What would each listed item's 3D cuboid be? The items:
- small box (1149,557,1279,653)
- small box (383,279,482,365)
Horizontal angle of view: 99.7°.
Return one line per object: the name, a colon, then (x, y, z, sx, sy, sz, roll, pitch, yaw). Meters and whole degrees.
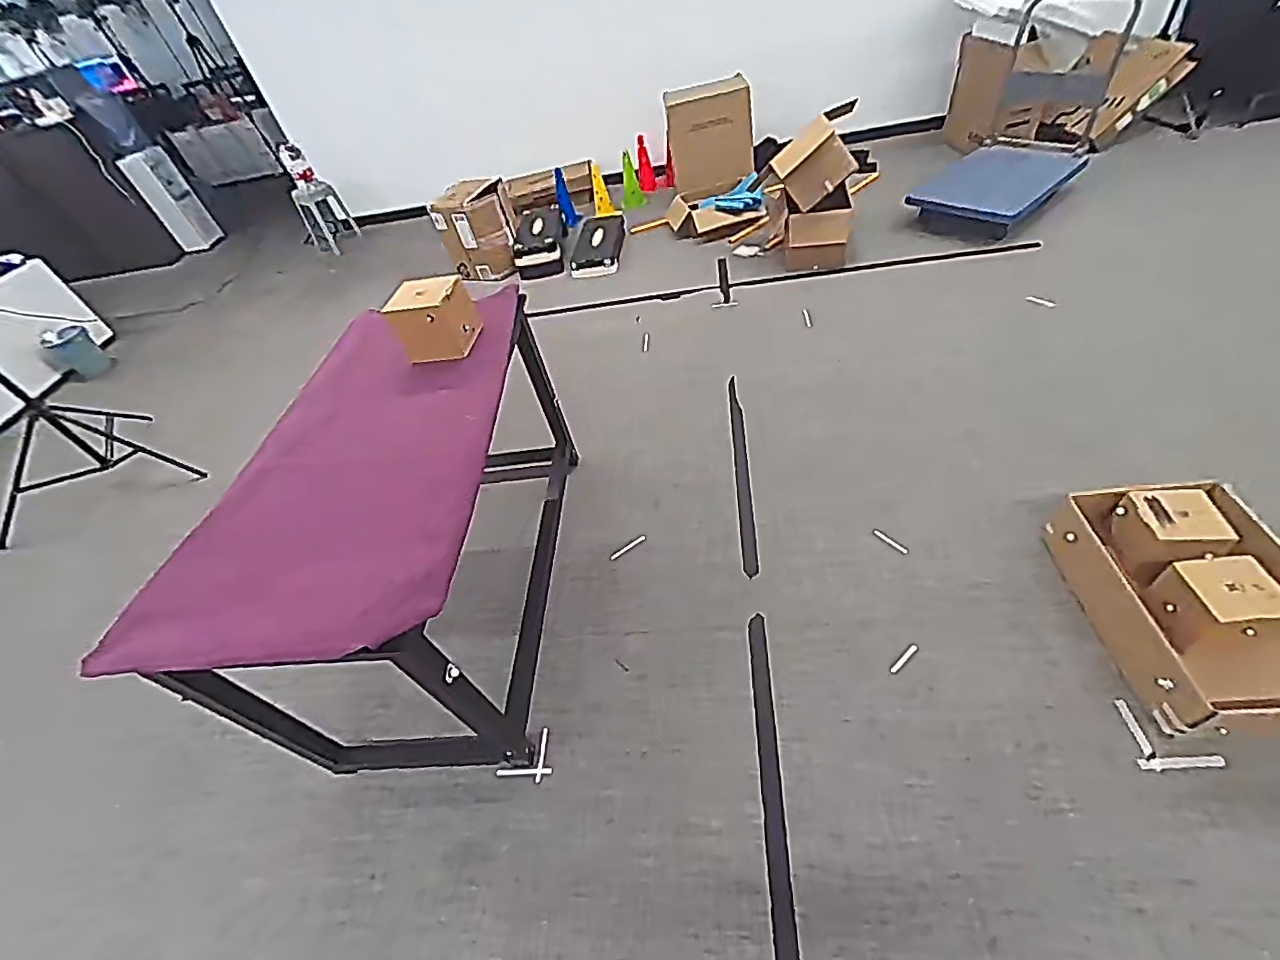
small box: (1.401, 0.308, 1.314, 0.179, 0.176, 0.168, -7, 46, 8)
small box: (-0.579, -0.442, 1.532, 0.179, 0.176, 0.168, -3, 47, 12)
